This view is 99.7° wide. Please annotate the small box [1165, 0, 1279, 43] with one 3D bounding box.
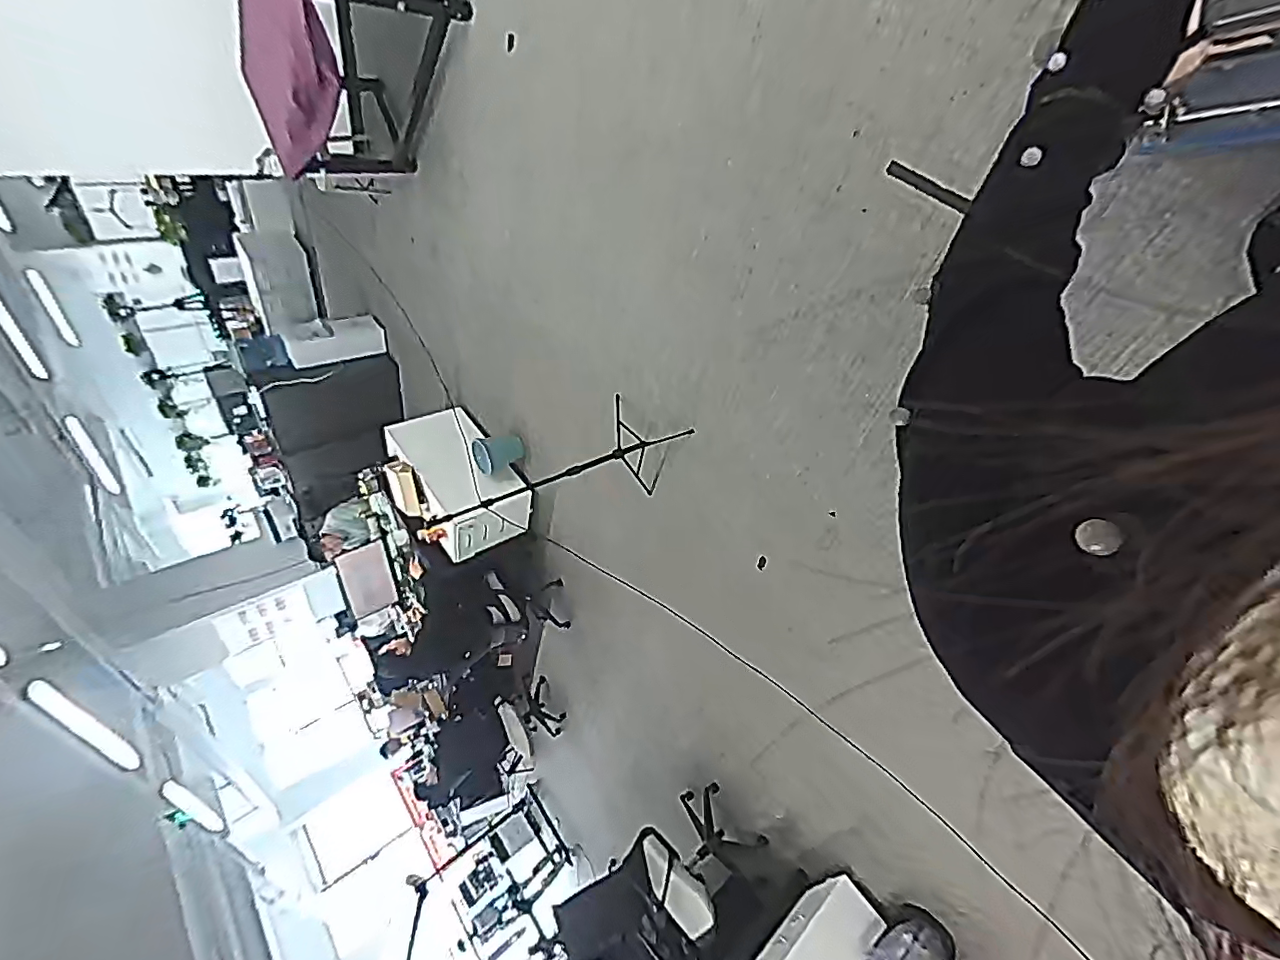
[{"bbox_3d":[0.829,-0.701,0.703,0.168,0.176,0.179,17,123,46],"label":"small box"}]
